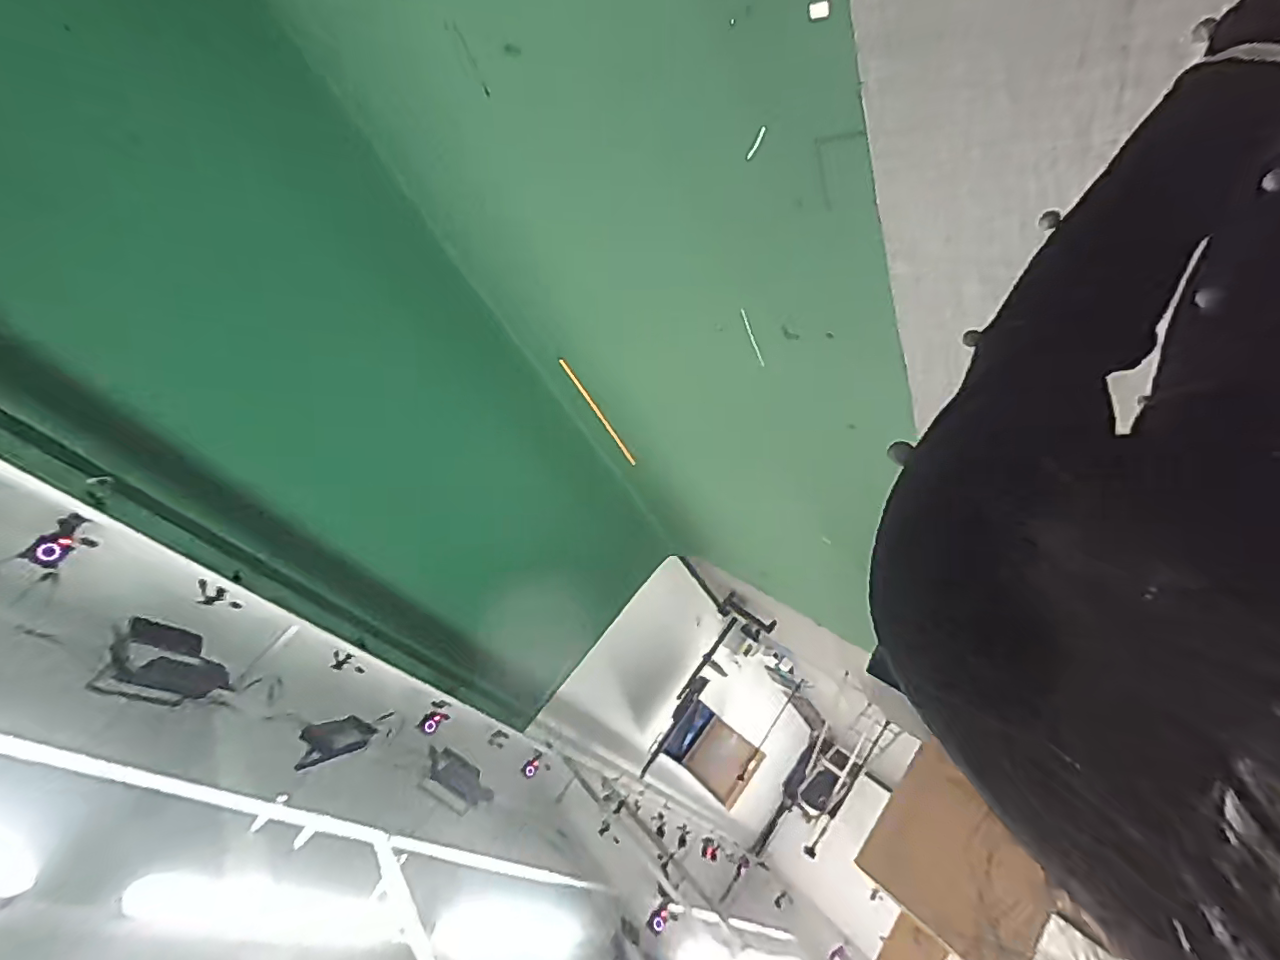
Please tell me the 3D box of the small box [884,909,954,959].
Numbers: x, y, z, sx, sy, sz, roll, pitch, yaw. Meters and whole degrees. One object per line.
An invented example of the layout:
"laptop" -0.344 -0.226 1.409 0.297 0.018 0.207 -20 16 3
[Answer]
"small box" 0.979 1.653 1.899 0.168 0.176 0.179 28 158 37
